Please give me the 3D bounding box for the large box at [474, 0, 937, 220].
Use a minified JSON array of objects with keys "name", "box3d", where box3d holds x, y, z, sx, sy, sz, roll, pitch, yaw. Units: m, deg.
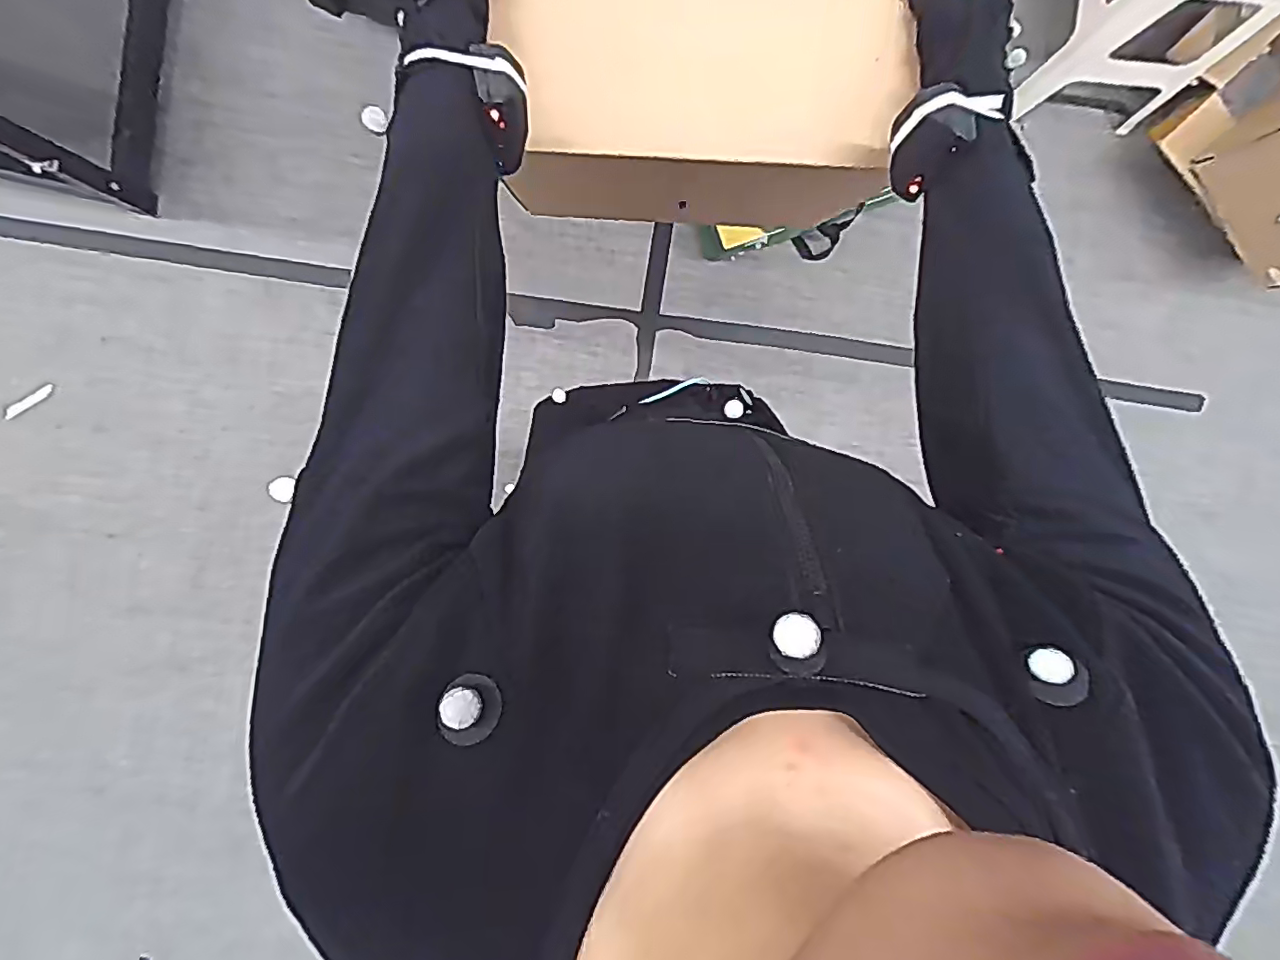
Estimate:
[{"name":"large box","box3d":[0.056,-0.482,0.593,0.408,0.320,0.320,2,105,-2]}]
